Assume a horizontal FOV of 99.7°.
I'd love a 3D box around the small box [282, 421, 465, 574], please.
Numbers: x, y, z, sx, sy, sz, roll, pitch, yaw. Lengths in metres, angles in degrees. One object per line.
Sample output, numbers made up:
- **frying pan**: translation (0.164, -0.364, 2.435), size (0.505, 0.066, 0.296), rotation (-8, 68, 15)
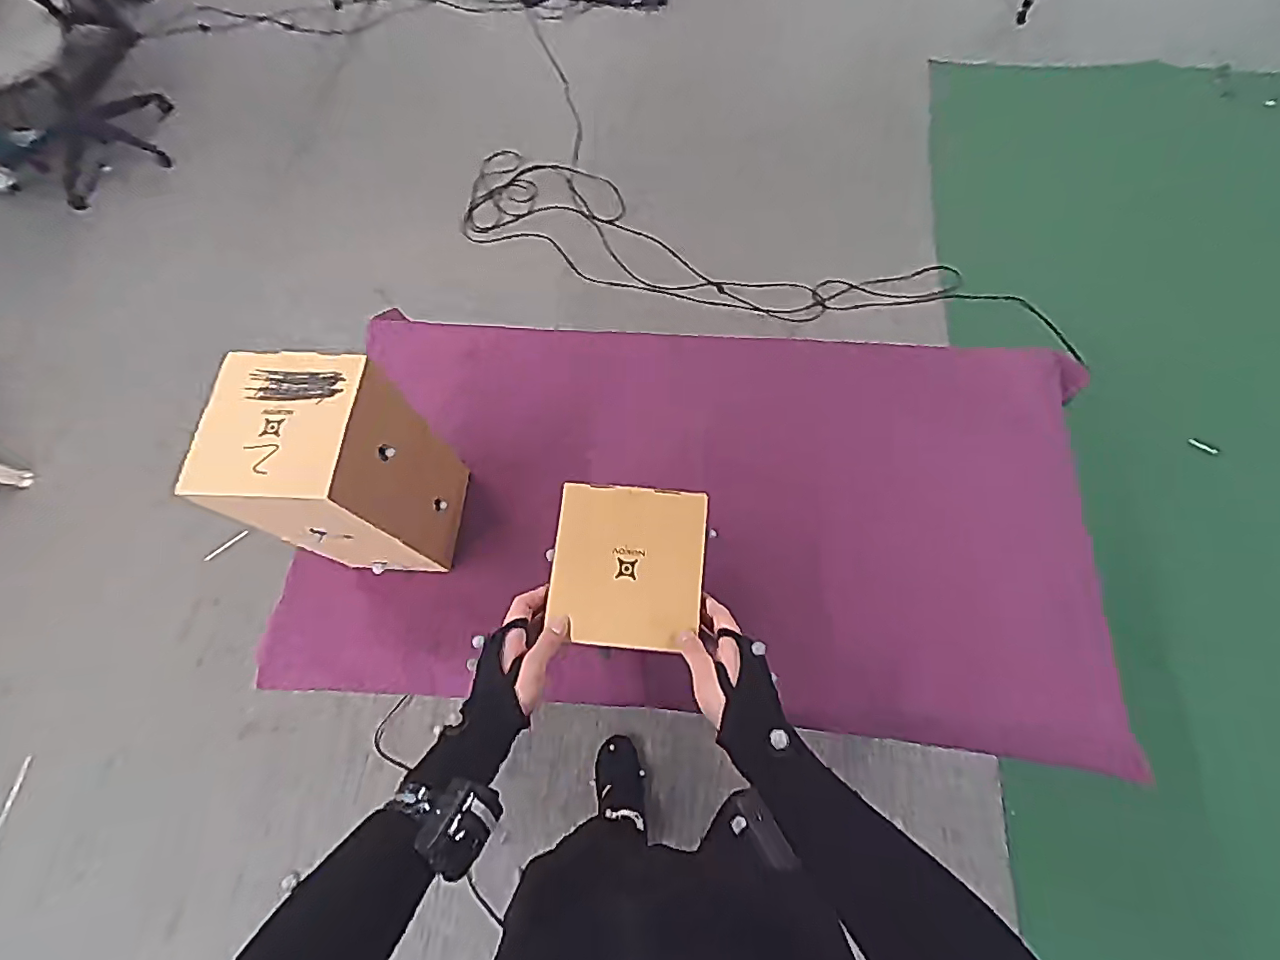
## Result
- **small box**: translation (-0.373, 0.031, 0.797), size (0.168, 0.176, 0.179), rotation (2, 68, 4)
